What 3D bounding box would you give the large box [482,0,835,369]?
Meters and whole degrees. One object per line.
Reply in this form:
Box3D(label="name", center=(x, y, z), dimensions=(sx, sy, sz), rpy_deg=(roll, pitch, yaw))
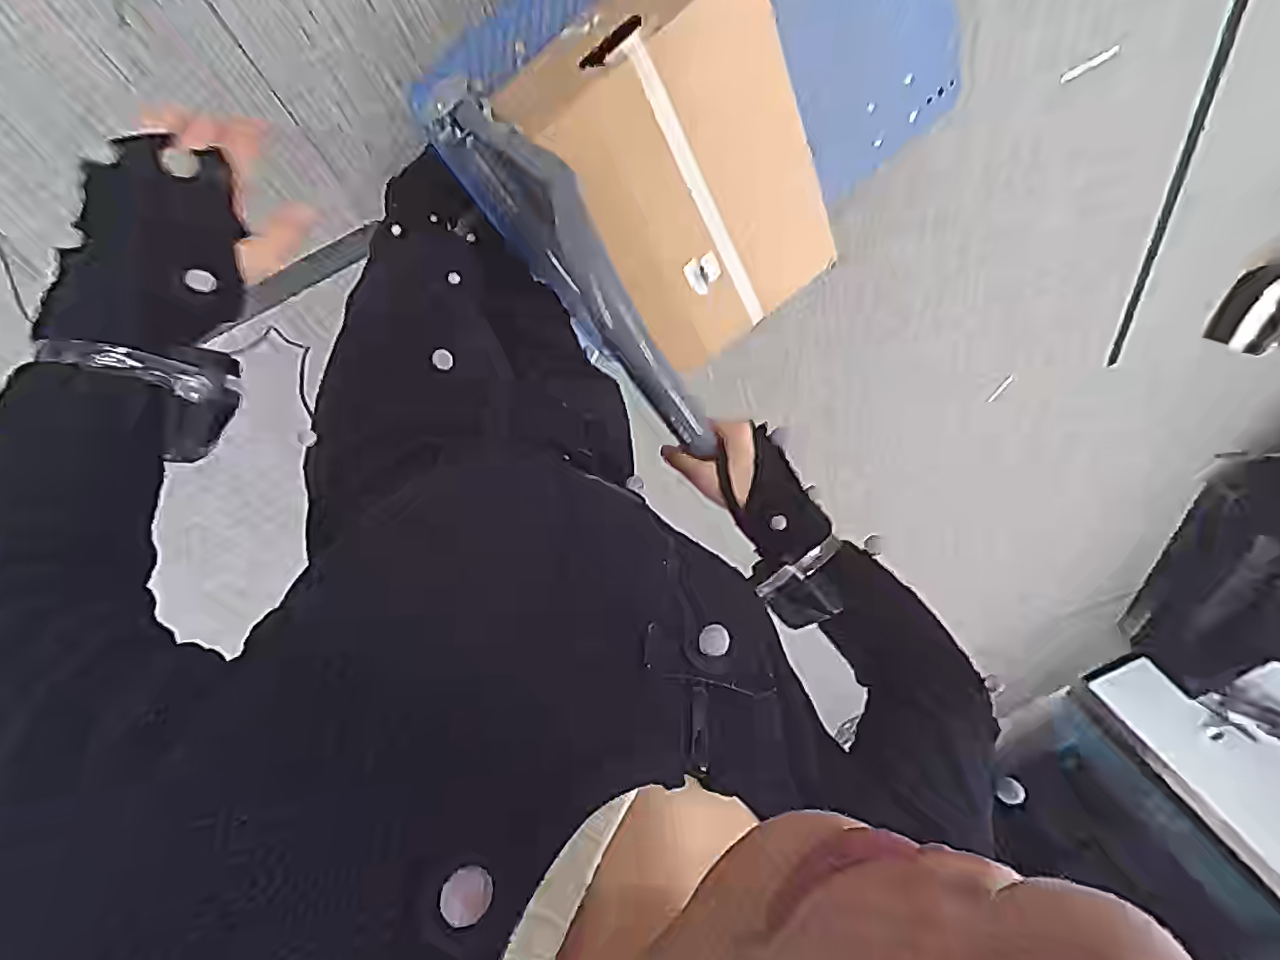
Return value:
Box3D(label="large box", center=(0.033, -0.459, 0.820), dimensions=(0.320, 0.320, 0.408), rpy_deg=(-37, 136, 6))
